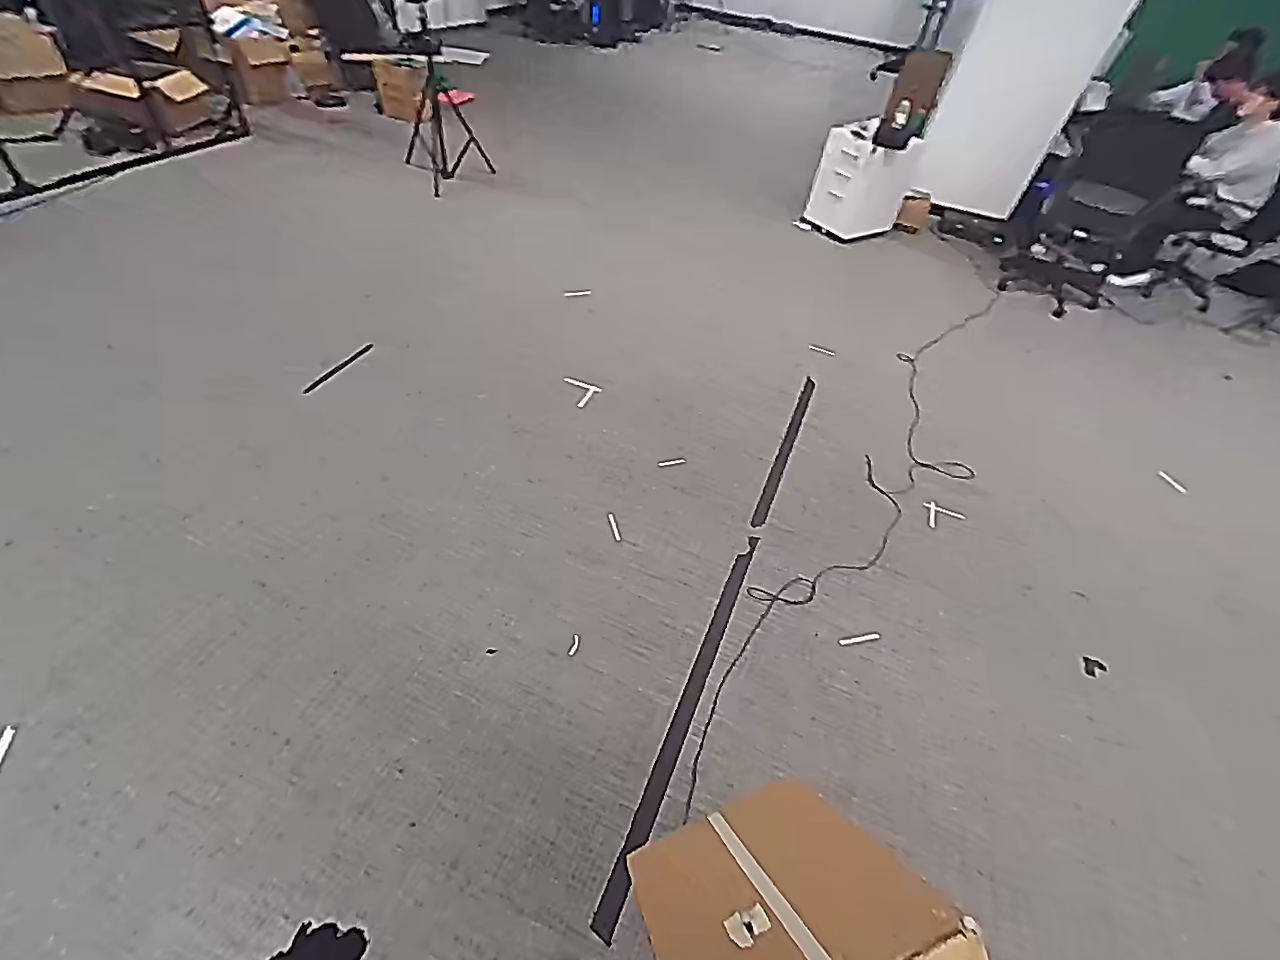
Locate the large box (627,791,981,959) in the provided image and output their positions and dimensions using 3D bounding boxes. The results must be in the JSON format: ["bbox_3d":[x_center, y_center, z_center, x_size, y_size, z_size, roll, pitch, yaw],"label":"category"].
[{"bbox_3d":[0.203,0.680,0.686,0.320,0.408,0.320,-17,84,-13],"label":"large box"}]
